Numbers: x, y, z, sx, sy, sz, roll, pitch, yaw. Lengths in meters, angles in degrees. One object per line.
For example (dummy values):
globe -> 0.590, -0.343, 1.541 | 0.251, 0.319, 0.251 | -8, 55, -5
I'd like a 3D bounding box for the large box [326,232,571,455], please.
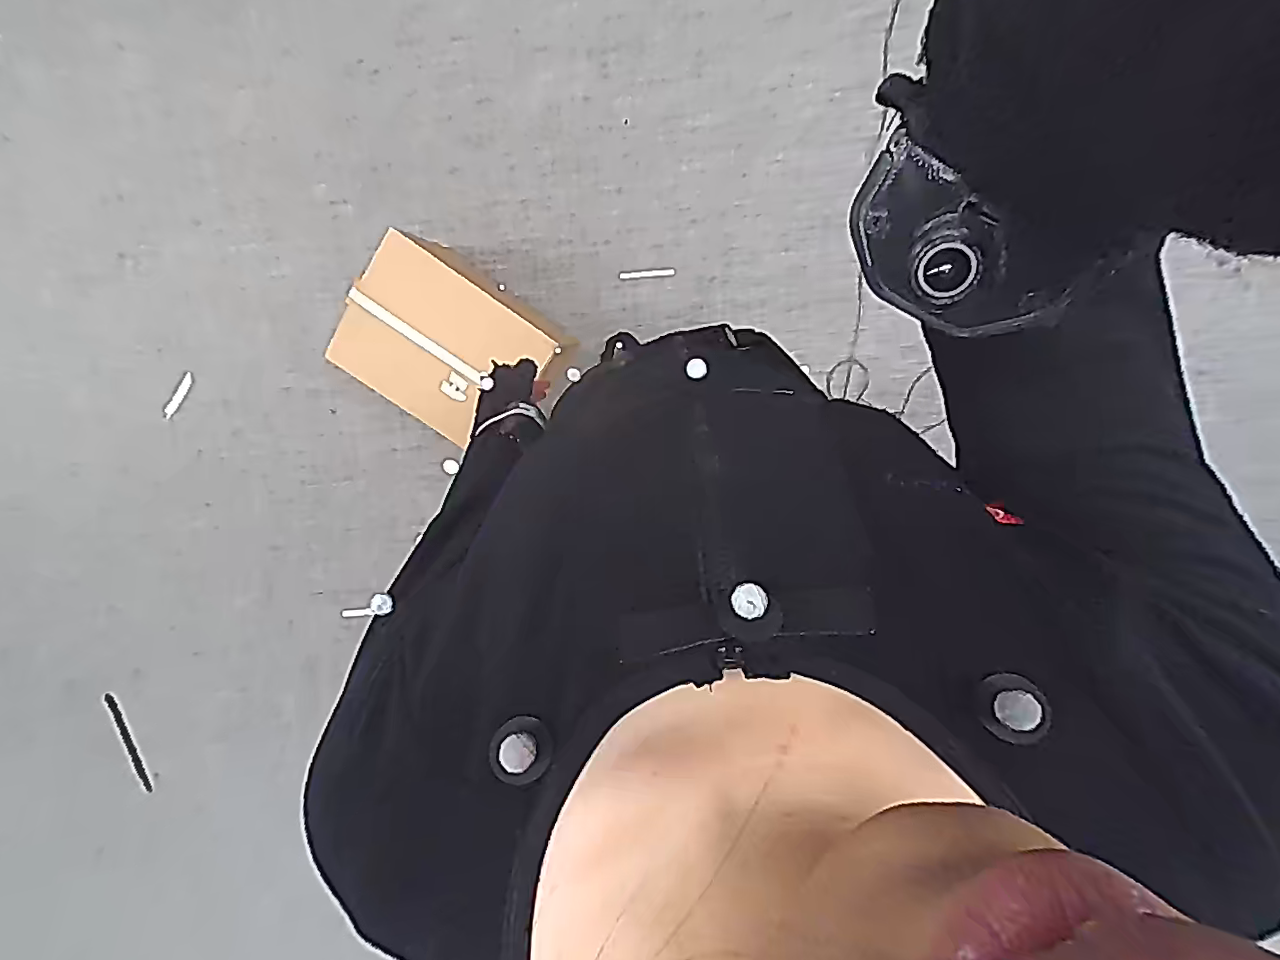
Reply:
large box -> -0.427, -0.318, 1.294 | 0.408, 0.320, 0.320 | 34, 104, -8
